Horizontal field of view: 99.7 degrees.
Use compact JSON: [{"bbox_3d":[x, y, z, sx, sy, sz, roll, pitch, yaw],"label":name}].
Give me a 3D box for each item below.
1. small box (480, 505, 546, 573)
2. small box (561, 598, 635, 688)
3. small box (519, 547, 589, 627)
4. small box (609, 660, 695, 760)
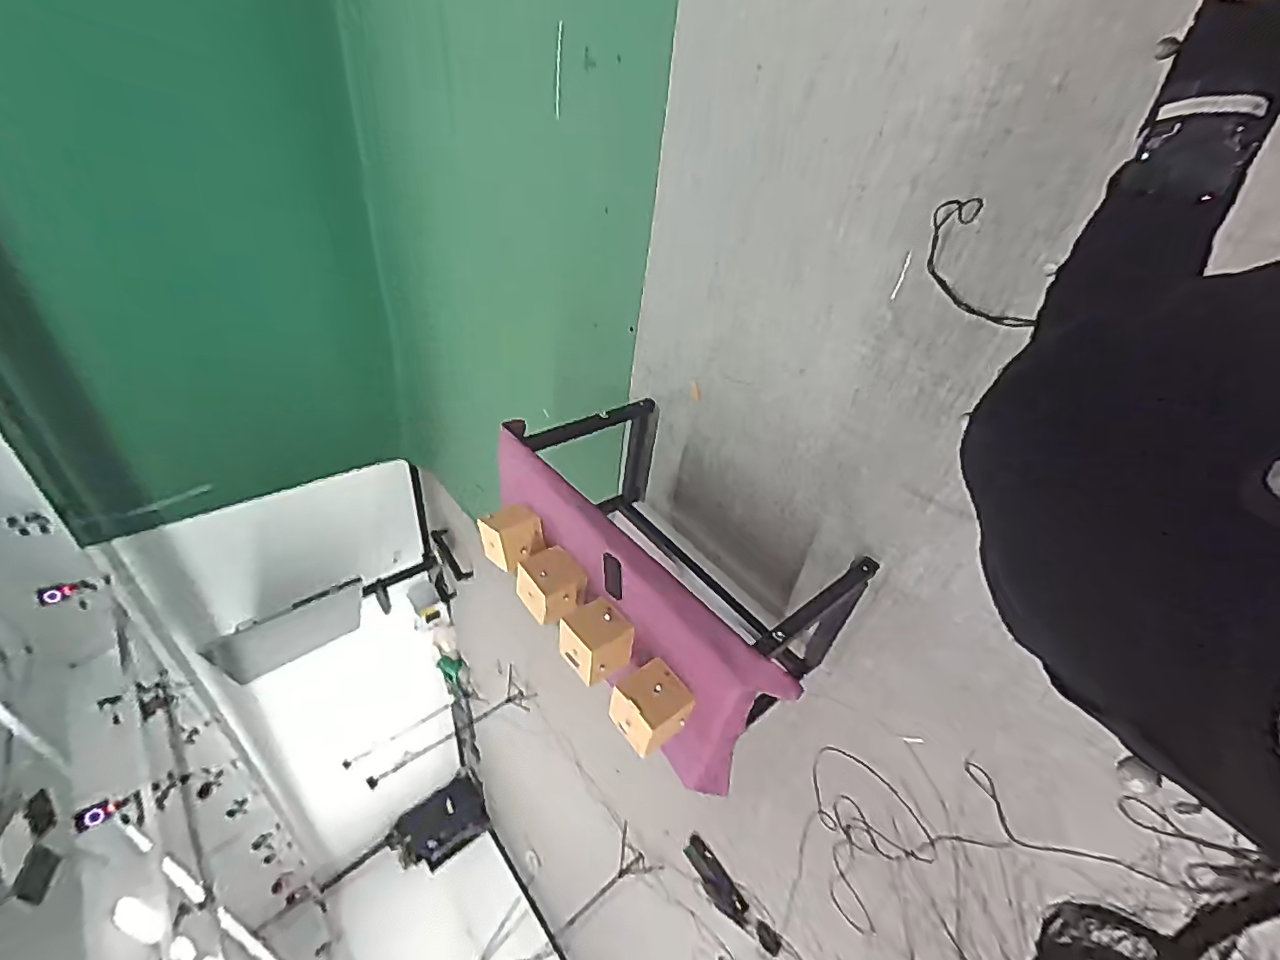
[{"bbox_3d":[-0.457,0.209,1.981,0.179,0.176,0.168,20,124,47],"label":"small box"},{"bbox_3d":[-0.134,0.510,1.711,0.168,0.176,0.179,37,134,36],"label":"small box"},{"bbox_3d":[-0.295,0.358,1.847,0.179,0.176,0.168,44,138,30],"label":"small box"},{"bbox_3d":[0.036,0.658,1.564,0.168,0.176,0.179,42,137,33],"label":"small box"}]
